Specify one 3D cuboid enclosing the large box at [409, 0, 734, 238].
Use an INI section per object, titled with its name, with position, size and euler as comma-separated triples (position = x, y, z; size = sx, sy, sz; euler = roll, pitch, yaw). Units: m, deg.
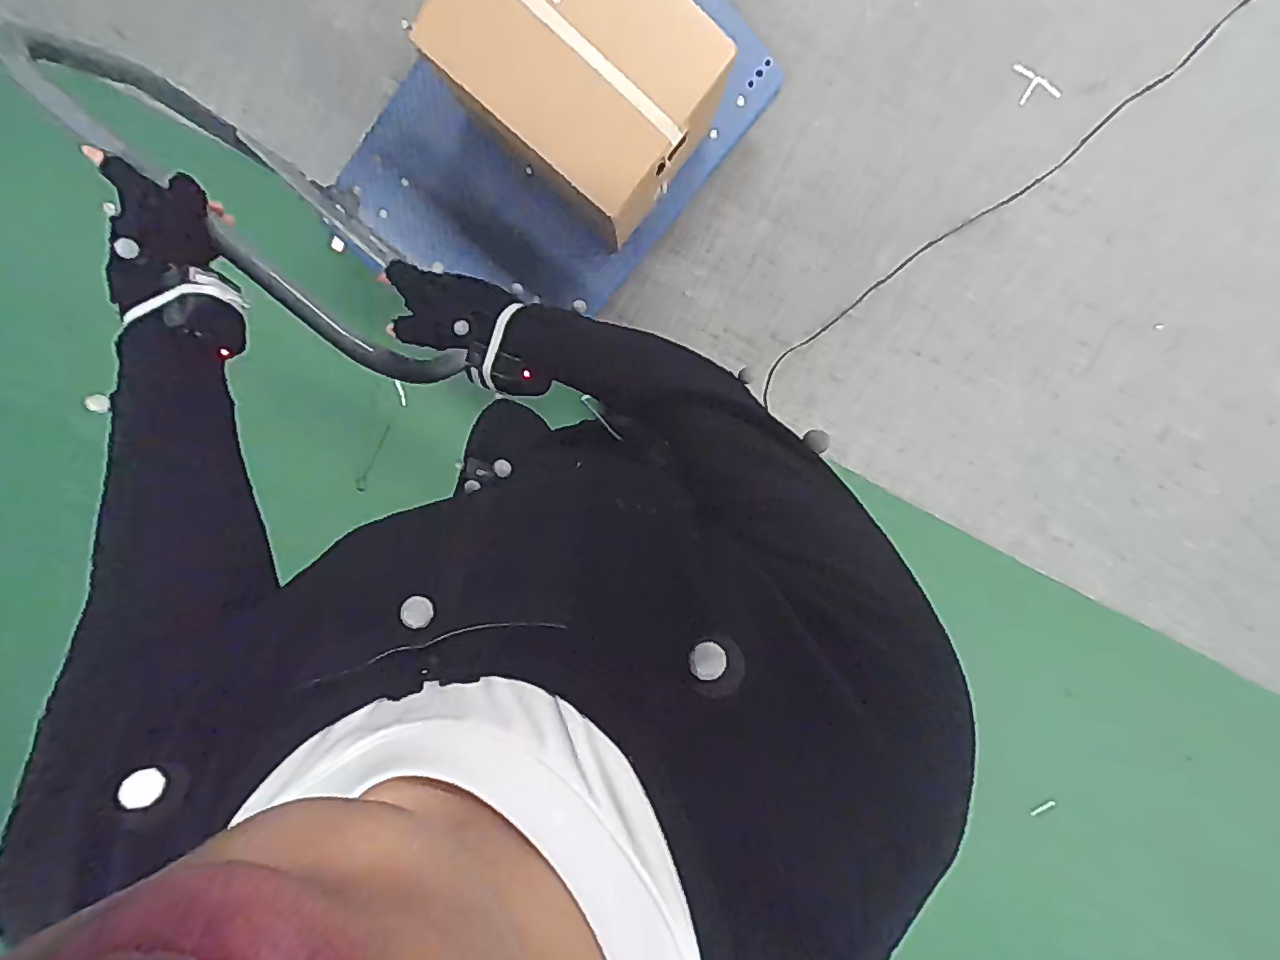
[large box]
position = -0.100, -0.709, 0.959
size = 0.408, 0.320, 0.320
euler = 39, 101, -9
